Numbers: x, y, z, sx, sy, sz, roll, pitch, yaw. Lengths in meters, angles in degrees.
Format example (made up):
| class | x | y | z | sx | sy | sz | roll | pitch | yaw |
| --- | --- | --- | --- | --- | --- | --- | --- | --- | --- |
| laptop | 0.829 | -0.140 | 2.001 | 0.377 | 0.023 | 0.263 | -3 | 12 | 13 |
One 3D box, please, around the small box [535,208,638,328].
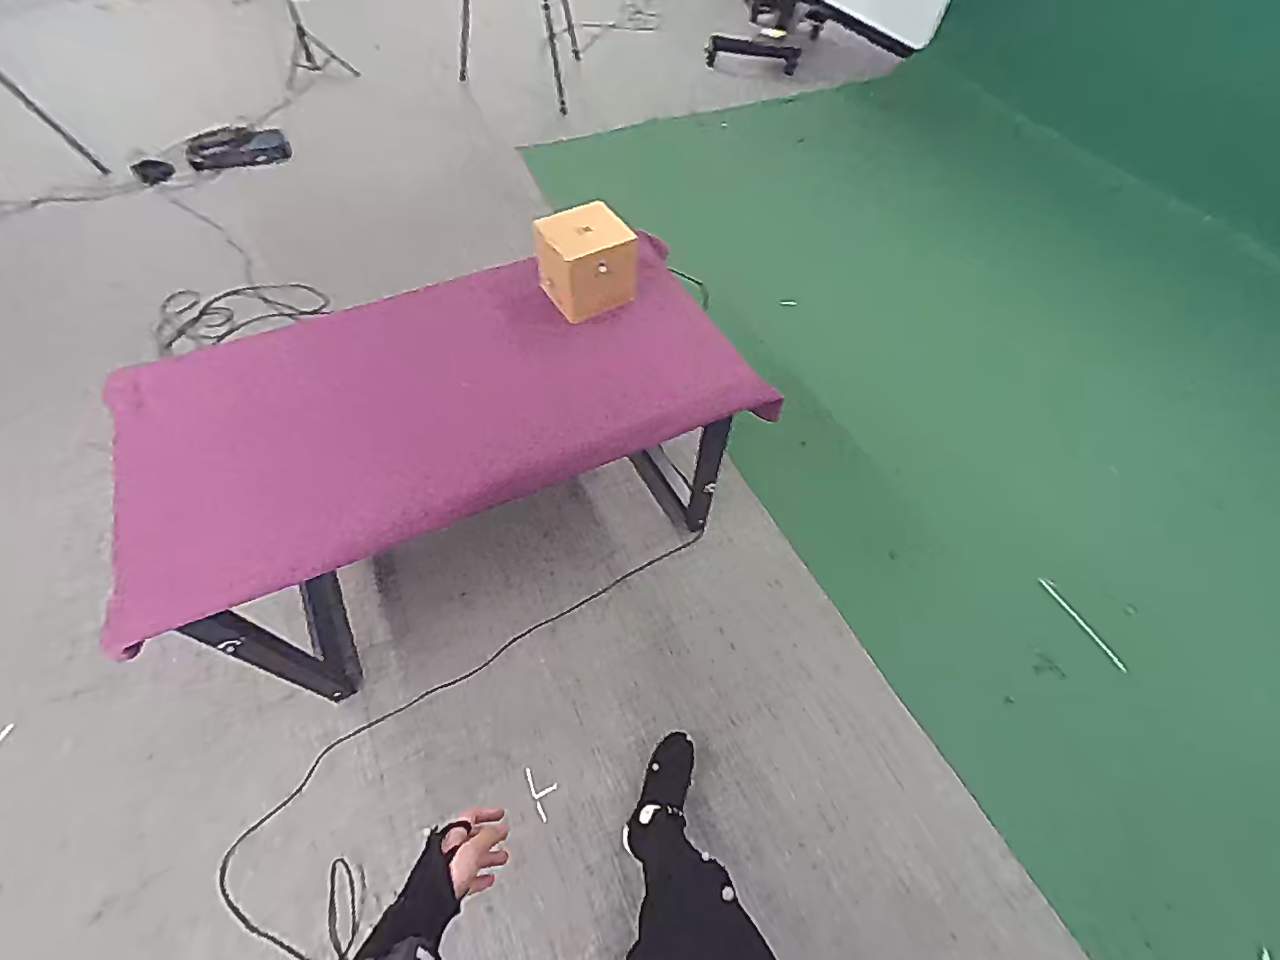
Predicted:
| class | x | y | z | sx | sy | sz | roll | pitch | yaw |
| --- | --- | --- | --- | --- | --- | --- | --- | --- | --- |
| small box | -0.120 | -0.485 | 1.243 | 0.179 | 0.176 | 0.168 | -28 | 62 | -17 |
